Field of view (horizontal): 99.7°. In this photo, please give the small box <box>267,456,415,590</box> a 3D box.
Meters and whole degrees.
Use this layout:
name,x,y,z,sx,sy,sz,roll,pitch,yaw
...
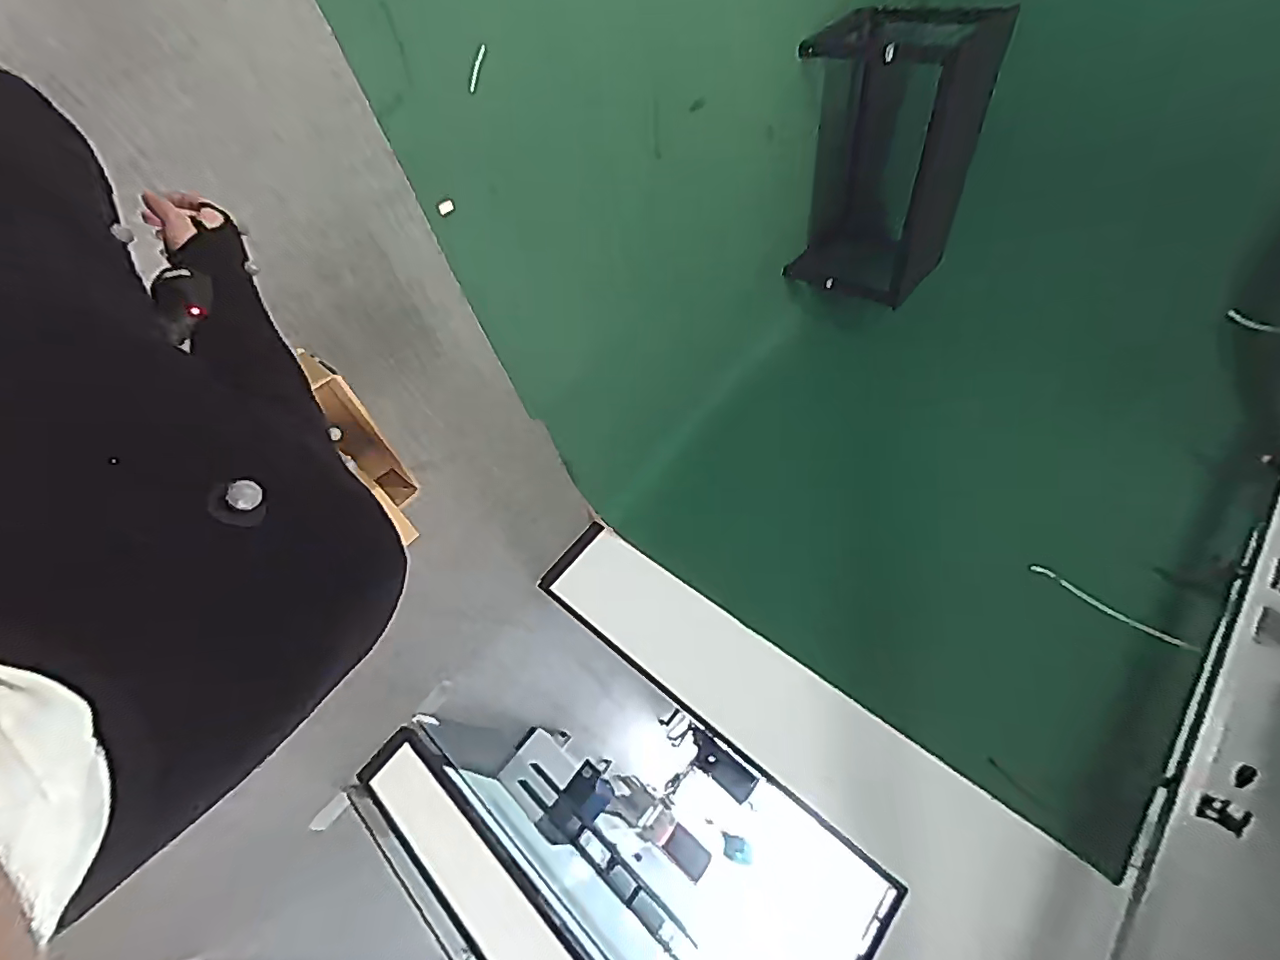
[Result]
name,x,y,z,sx,sy,sz,roll,pitch,yaw
small box,-0.600,0.082,1.094,0.168,0.176,0.179,-44,147,-24
